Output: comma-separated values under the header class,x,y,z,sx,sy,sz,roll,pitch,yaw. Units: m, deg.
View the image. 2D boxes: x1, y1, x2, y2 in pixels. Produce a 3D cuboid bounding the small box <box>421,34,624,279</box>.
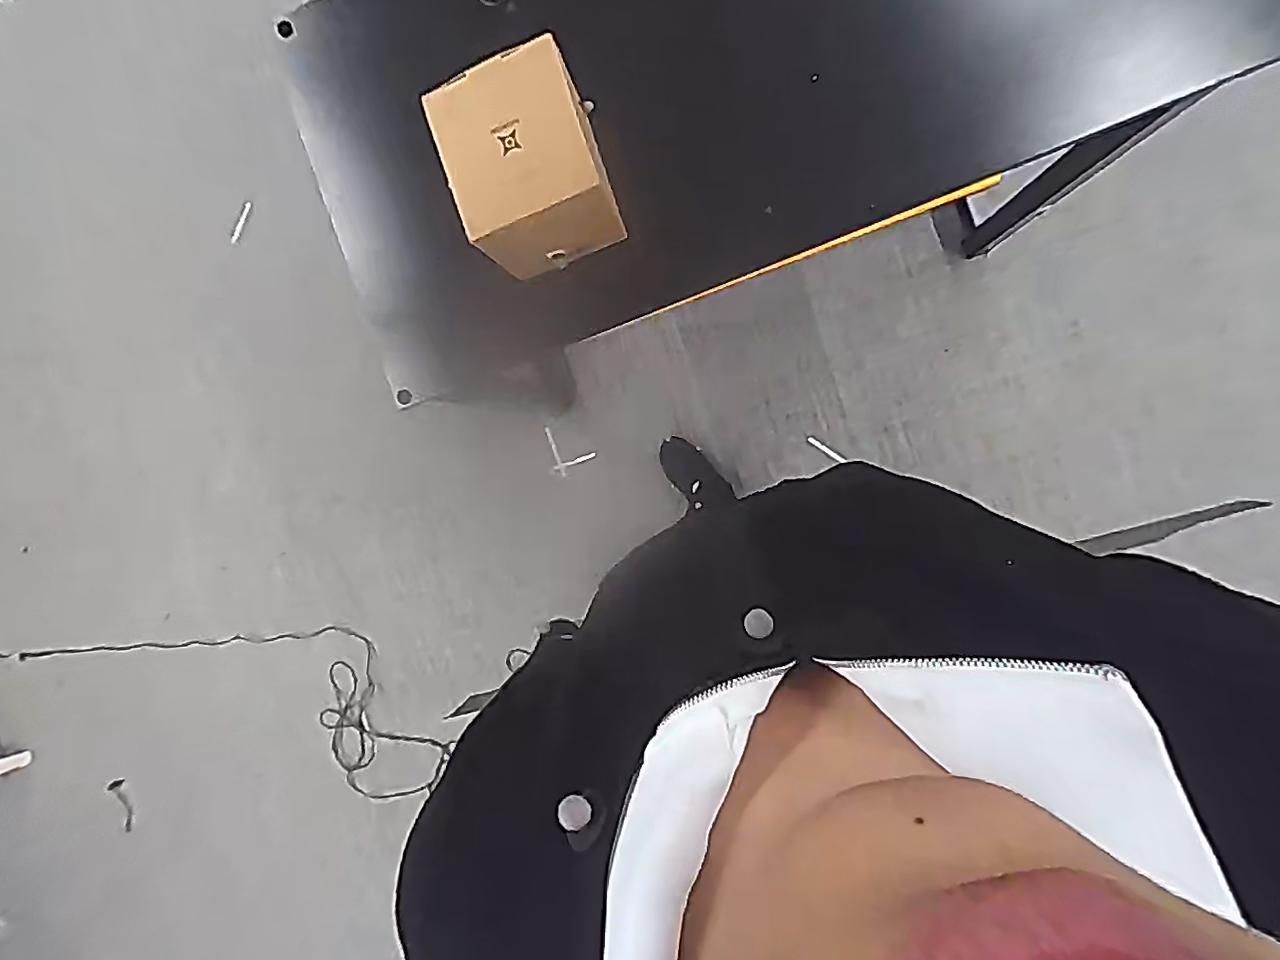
class,x,y,z,sx,sy,sz,roll,pitch,yaw
small box,-0.133,-0.382,0.675,0.168,0.176,0.179,-19,92,11
